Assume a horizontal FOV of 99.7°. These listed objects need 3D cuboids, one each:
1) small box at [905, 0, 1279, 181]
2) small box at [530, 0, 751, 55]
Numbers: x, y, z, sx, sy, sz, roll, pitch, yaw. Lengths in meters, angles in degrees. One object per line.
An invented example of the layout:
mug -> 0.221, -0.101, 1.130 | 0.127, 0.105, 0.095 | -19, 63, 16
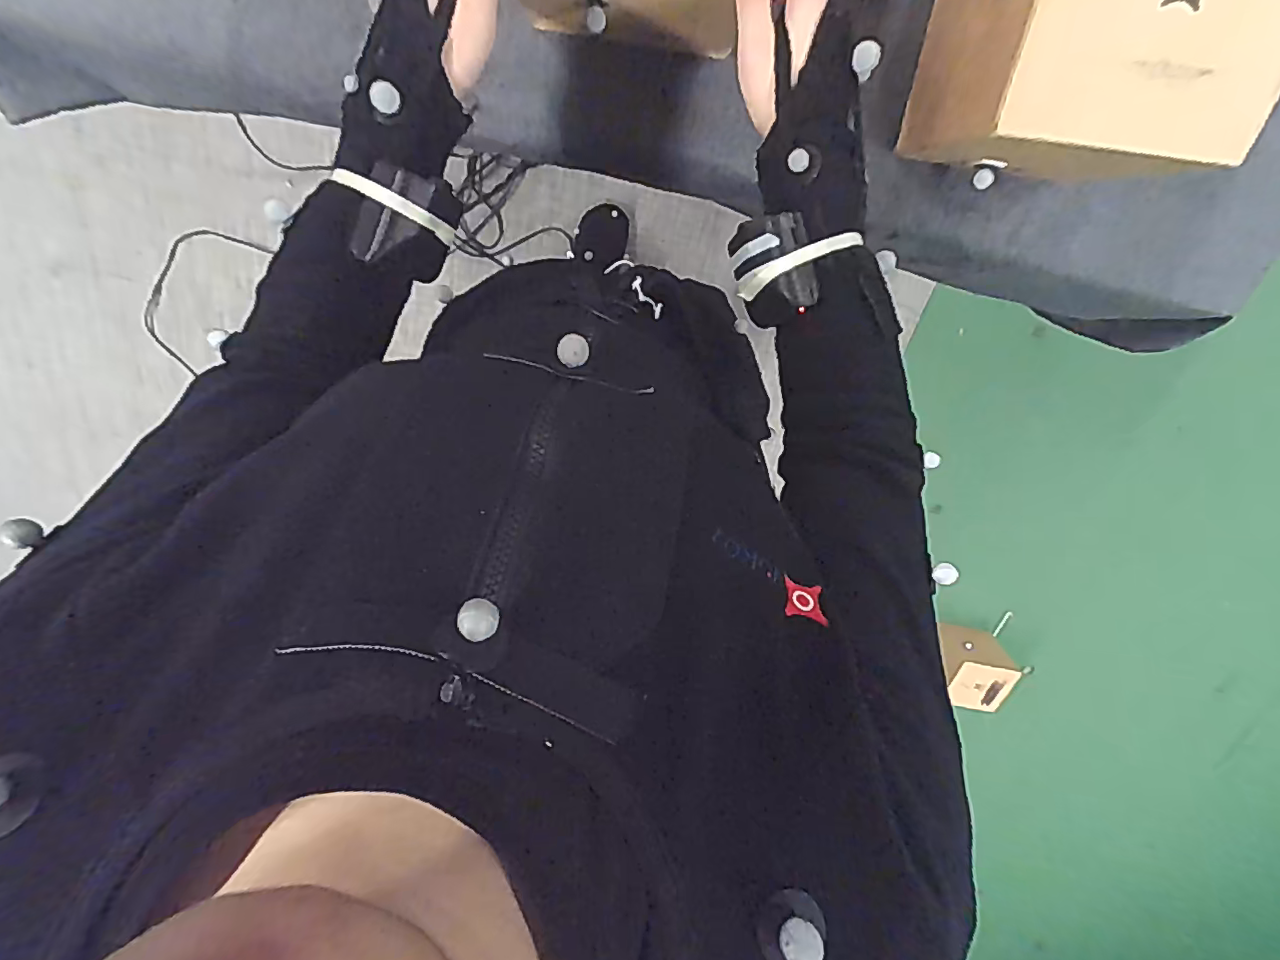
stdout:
small box -> 0.318, -0.324, 0.383 | 0.168, 0.176, 0.179 | 6, 117, -1
small box -> 0.005, -0.405, 0.345 | 0.168, 0.176, 0.179 | 7, 116, -3
